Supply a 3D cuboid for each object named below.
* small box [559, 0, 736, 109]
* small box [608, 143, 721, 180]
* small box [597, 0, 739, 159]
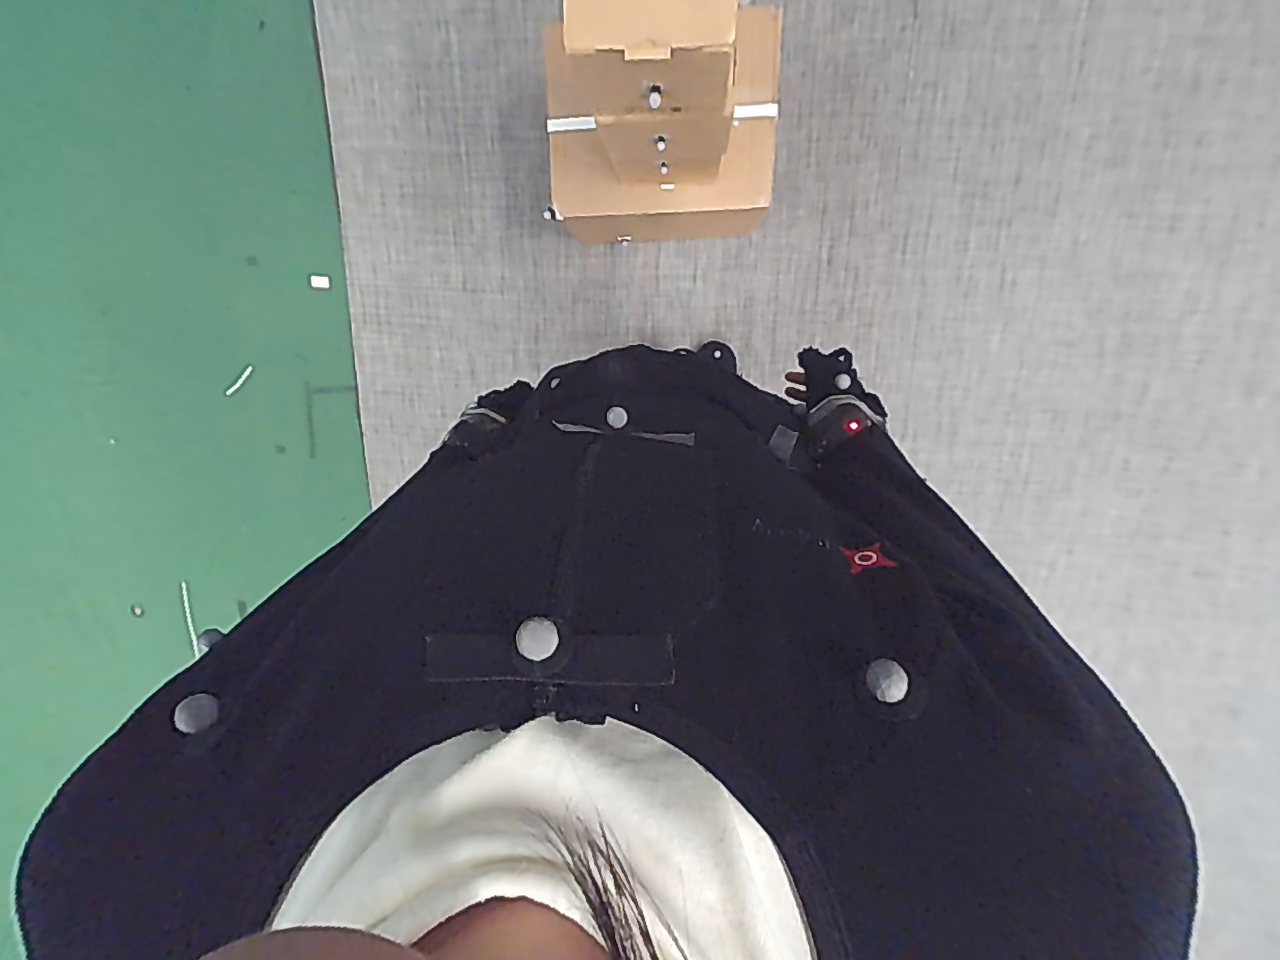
[{"bbox_3d":[0.017,-0.514,0.565,0.168,0.176,0.179,5,107,6],"label":"small box"},{"bbox_3d":[0.046,-0.600,0.880,0.179,0.176,0.168,2,107,5],"label":"small box"},{"bbox_3d":[0.036,-0.549,0.724,0.179,0.176,0.168,-2,106,6],"label":"small box"}]
